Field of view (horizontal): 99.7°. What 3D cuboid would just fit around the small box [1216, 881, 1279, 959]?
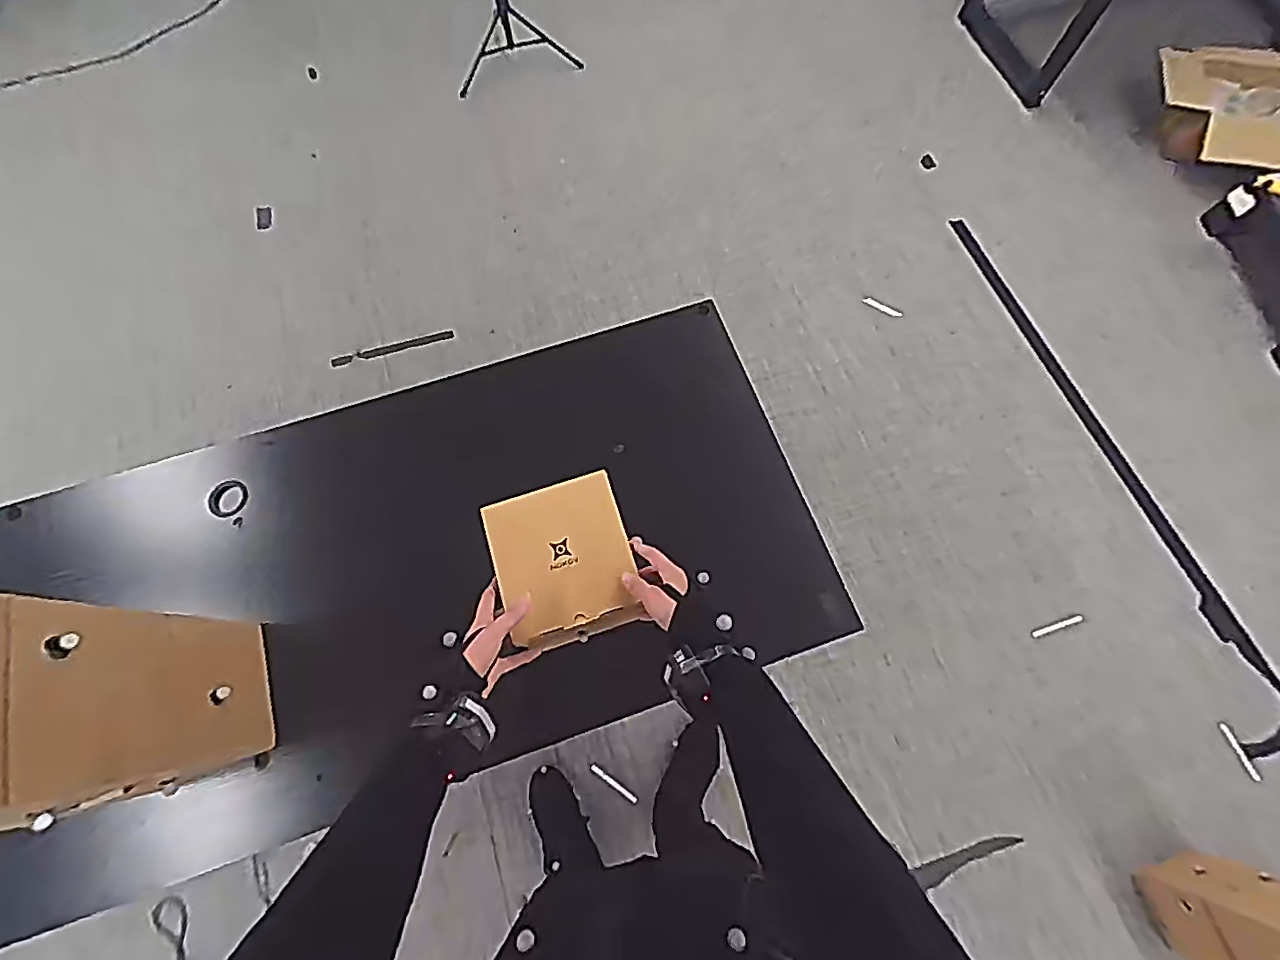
[{"bbox_3d":[1.287,0.905,1.029,0.168,0.176,0.179,-17,73,-6],"label":"small box"}]

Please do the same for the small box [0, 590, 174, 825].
[{"bbox_3d":[-0.595,0.224,0.515,0.168,0.176,0.179,-19,72,-5],"label":"small box"}]

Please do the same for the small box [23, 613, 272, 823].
[{"bbox_3d":[-0.593,0.280,0.670,0.168,0.176,0.179,-19,72,-6],"label":"small box"}]

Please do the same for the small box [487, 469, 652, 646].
[{"bbox_3d":[-0.088,0.112,0.724,0.168,0.176,0.179,-18,72,-5],"label":"small box"}]
